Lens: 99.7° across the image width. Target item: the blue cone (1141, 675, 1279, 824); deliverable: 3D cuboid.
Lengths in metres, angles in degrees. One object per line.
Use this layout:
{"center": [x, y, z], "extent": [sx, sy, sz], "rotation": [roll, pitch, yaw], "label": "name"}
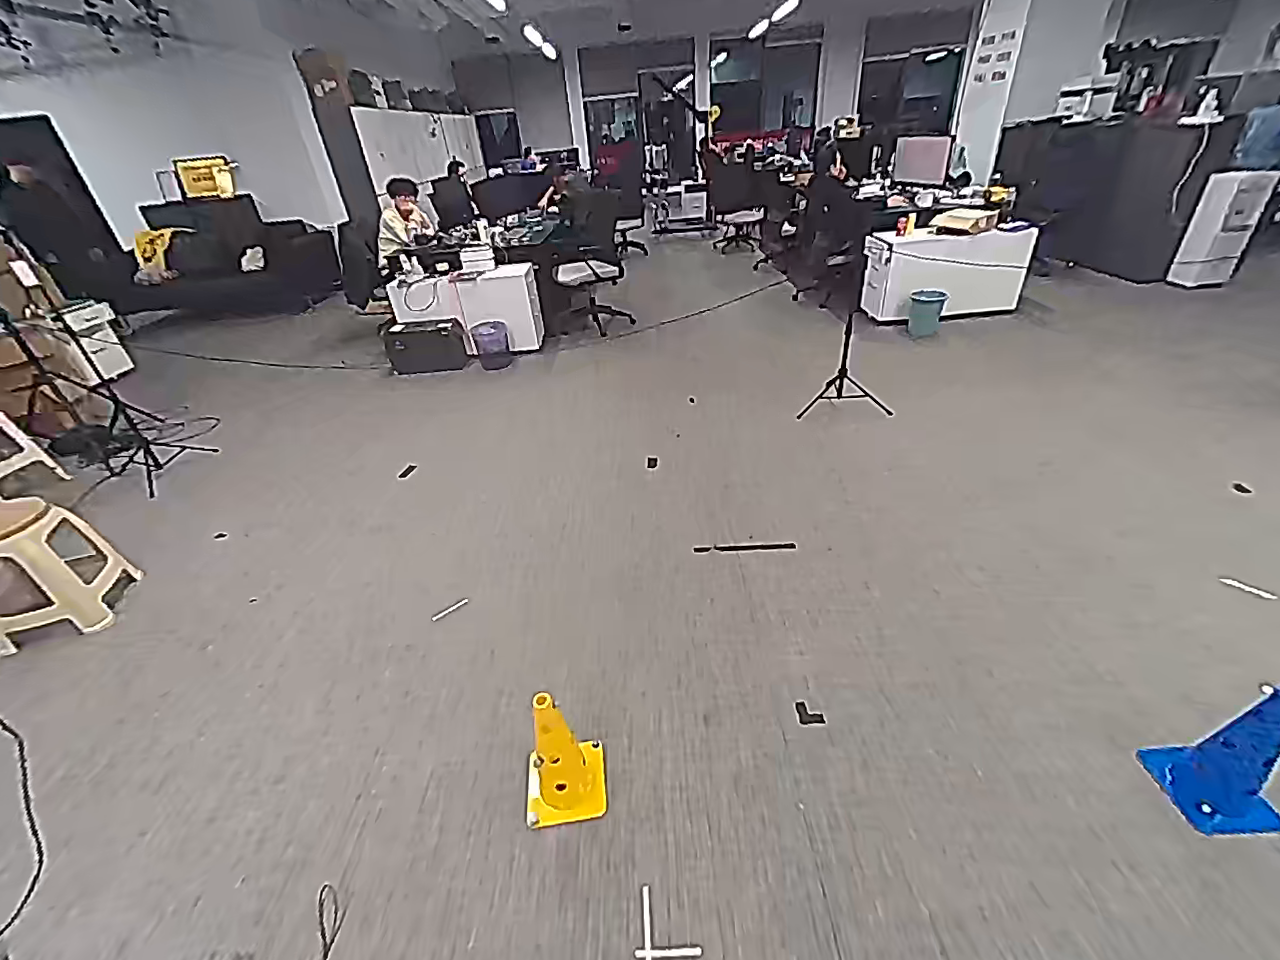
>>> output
{"center": [1.327, 0.575, 1.194], "extent": [0.193, 0.380, 0.192], "rotation": [-4, 32, 3], "label": "blue cone"}
